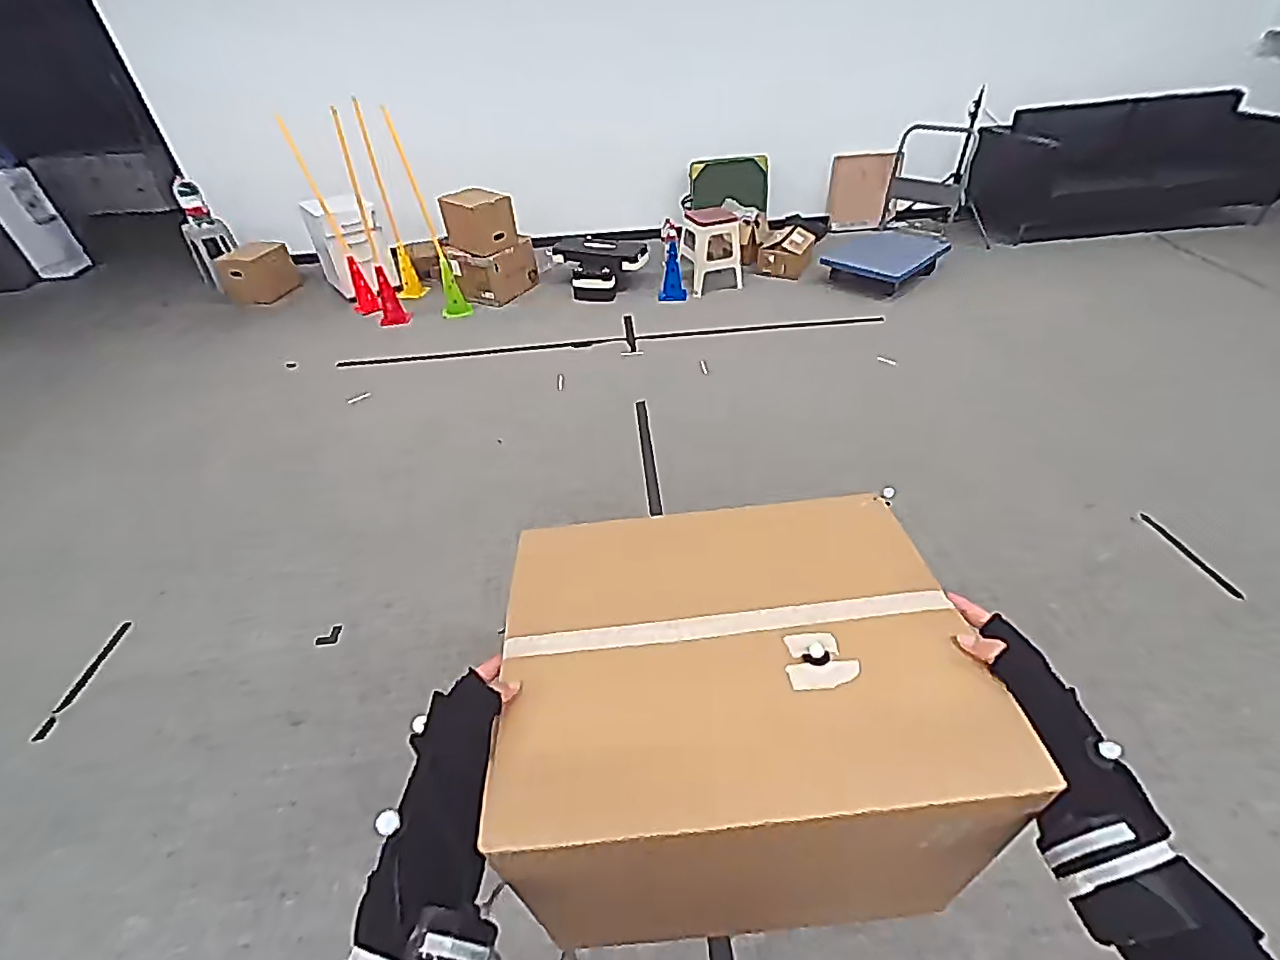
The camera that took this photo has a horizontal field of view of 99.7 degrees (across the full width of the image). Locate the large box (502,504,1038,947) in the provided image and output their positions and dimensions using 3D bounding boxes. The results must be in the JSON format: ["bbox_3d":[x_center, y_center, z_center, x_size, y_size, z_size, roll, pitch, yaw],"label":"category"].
[{"bbox_3d":[0.095,0.260,0.596,0.408,0.320,0.320,-6,39,0],"label":"large box"}]
